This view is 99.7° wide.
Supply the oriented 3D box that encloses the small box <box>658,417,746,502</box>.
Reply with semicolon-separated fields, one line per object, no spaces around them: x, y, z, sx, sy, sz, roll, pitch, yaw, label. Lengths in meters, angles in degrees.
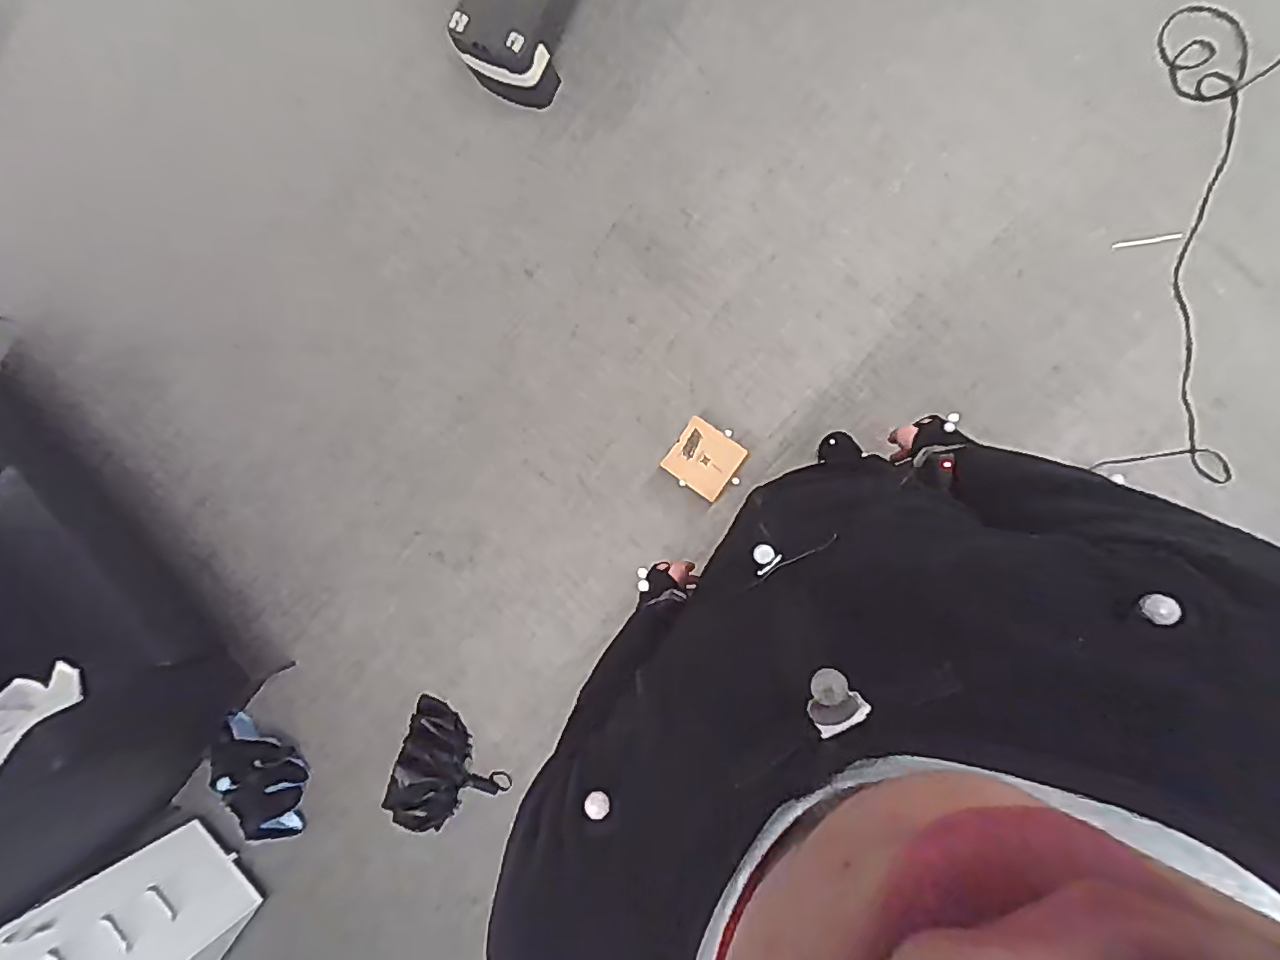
0.178;-0.054;1.502;0.179;0.176;0.168;36;99;11;small box
